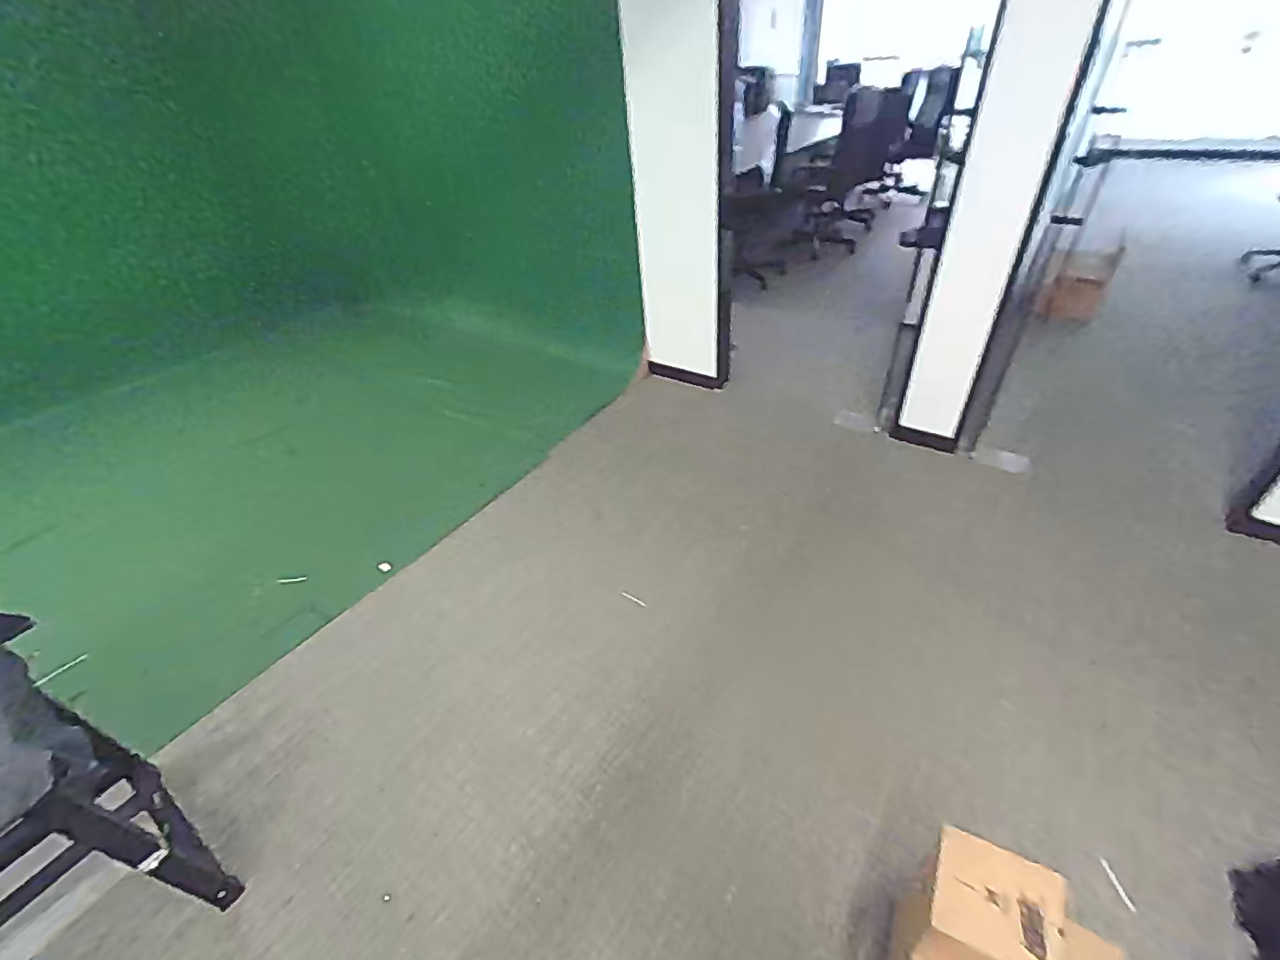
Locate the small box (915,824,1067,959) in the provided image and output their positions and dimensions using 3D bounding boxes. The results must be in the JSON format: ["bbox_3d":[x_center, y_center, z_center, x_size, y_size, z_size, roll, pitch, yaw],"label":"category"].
[{"bbox_3d":[0.581,0.730,0.904,0.179,0.176,0.168,14,43,29],"label":"small box"}]
